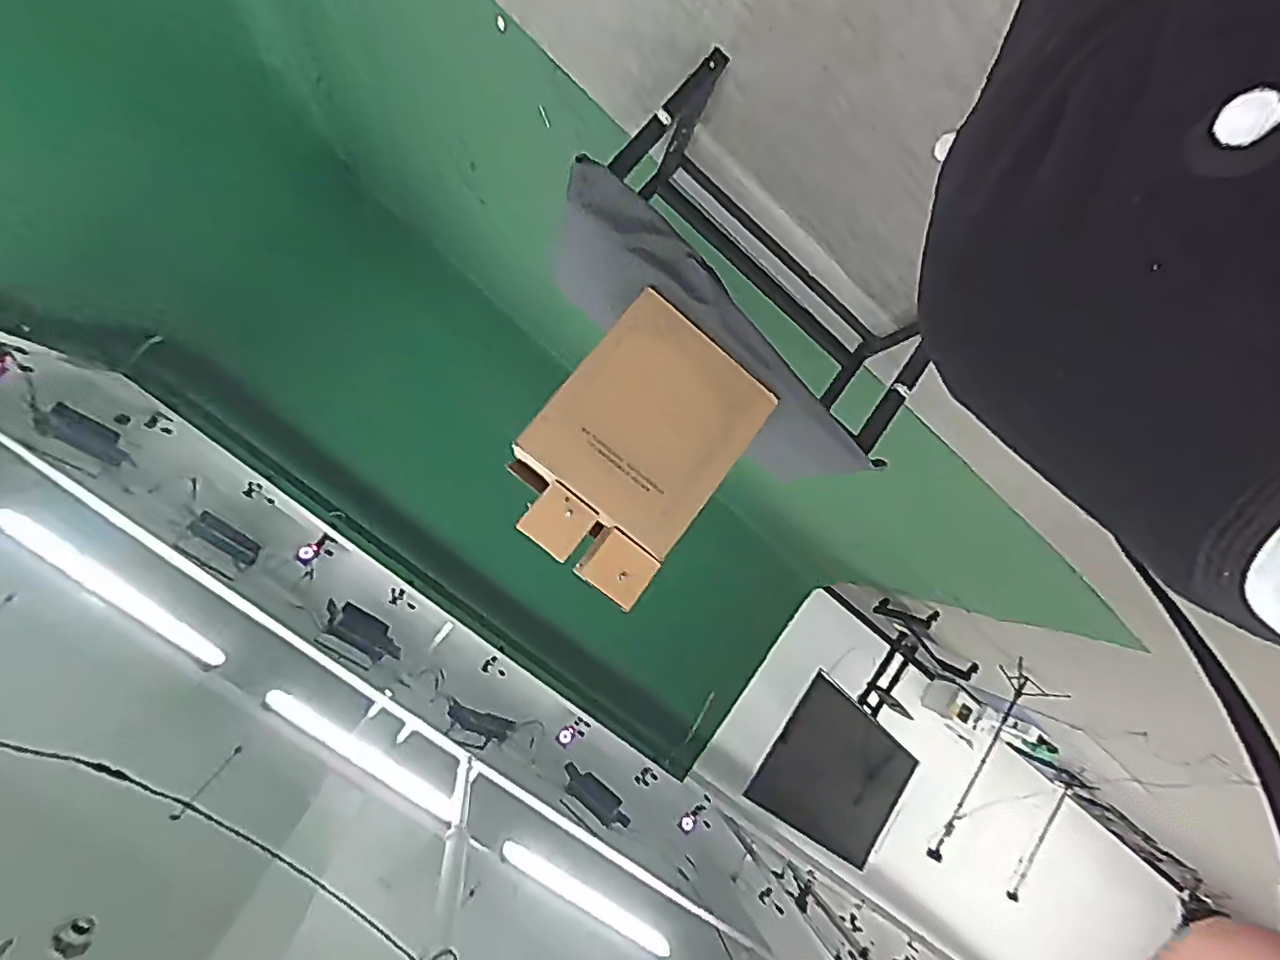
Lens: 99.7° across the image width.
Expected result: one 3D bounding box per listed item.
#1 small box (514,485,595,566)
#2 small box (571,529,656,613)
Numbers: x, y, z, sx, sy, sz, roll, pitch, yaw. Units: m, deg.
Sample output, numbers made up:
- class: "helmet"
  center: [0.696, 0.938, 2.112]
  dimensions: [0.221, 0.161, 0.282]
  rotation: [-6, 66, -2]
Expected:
- class: "small box"
  center: [-0.252, 0.131, 1.588]
  dimensions: [0.168, 0.176, 0.179]
  rotation: [40, 167, -8]
- class: "small box"
  center: [-0.078, 0.266, 1.608]
  dimensions: [0.179, 0.176, 0.168]
  rotation: [39, 167, -8]
